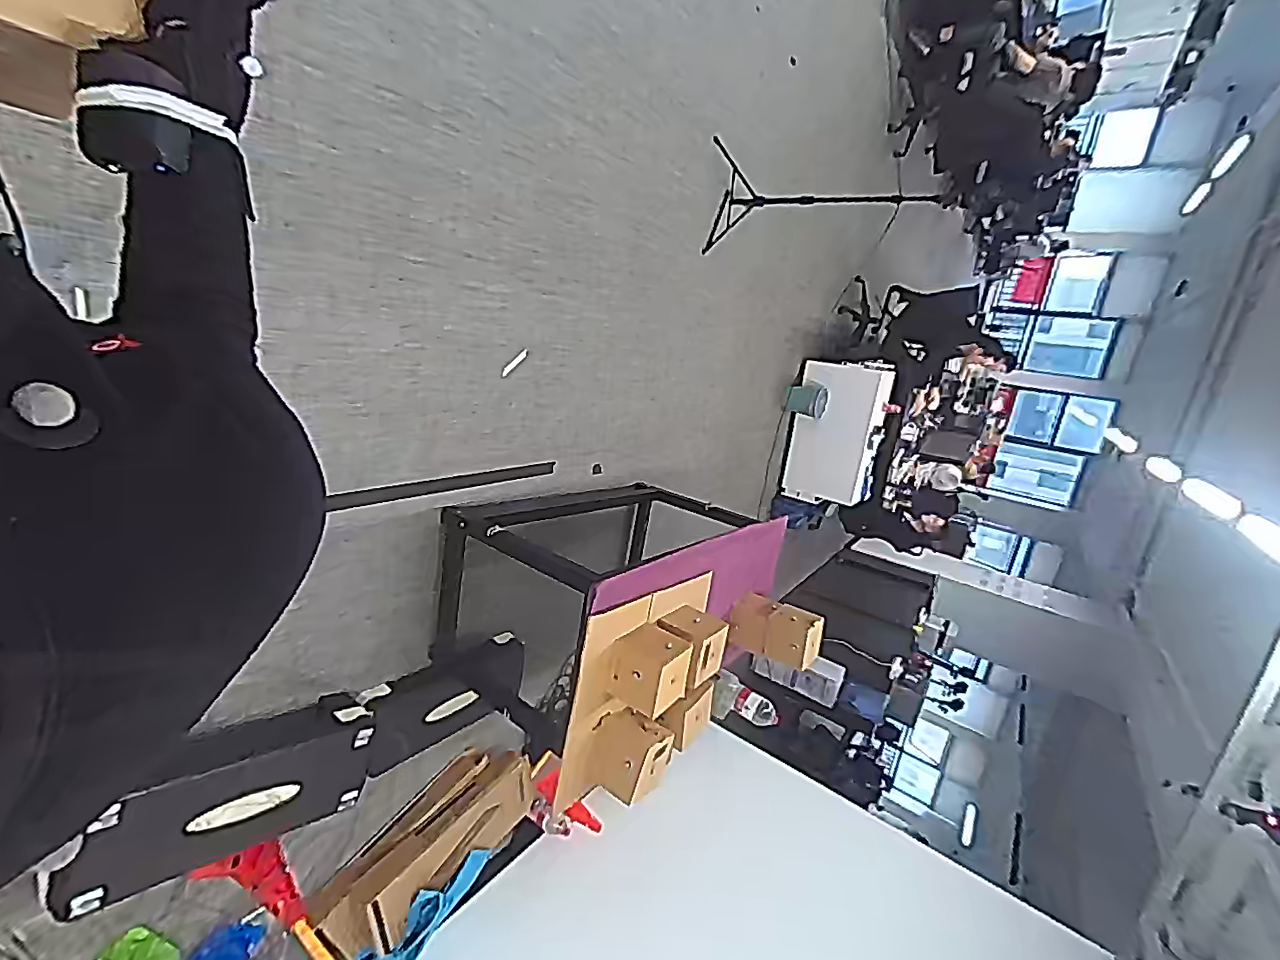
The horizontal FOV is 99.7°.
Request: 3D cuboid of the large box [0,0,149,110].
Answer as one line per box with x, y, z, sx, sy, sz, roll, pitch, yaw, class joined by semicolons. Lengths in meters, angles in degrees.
-0.555;-0.456;0.269;0.408;0.320;0.320;-7;112;-54;large box
